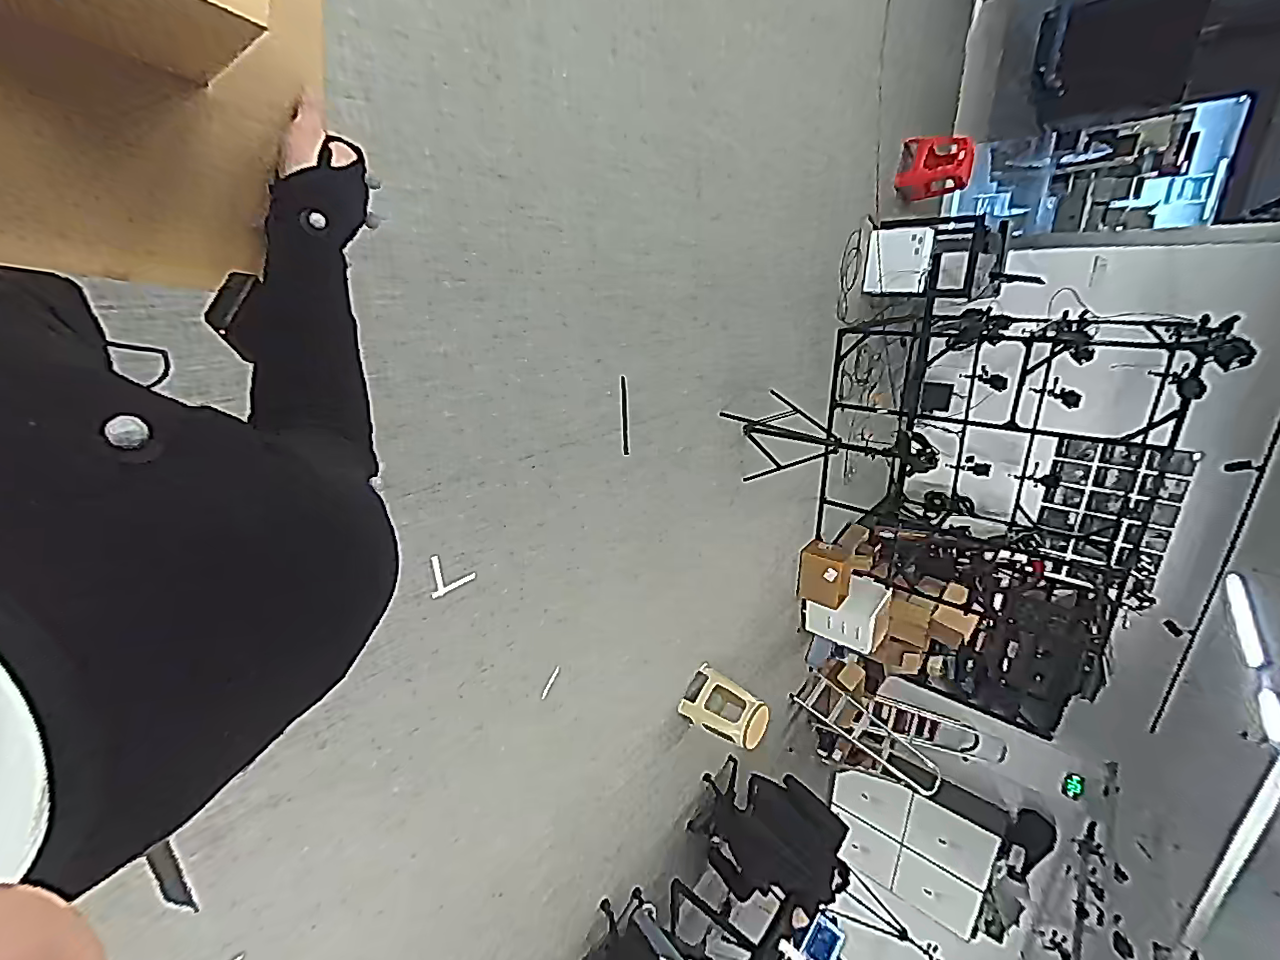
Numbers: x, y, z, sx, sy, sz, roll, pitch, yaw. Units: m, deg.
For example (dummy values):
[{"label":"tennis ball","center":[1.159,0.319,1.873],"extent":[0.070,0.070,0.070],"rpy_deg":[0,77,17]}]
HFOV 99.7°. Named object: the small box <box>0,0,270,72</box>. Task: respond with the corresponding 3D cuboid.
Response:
[{"label":"small box","center":[-0.349,-0.382,0.323],"extent":[0.179,0.176,0.168],"rpy_deg":[-7,110,-48]}]
